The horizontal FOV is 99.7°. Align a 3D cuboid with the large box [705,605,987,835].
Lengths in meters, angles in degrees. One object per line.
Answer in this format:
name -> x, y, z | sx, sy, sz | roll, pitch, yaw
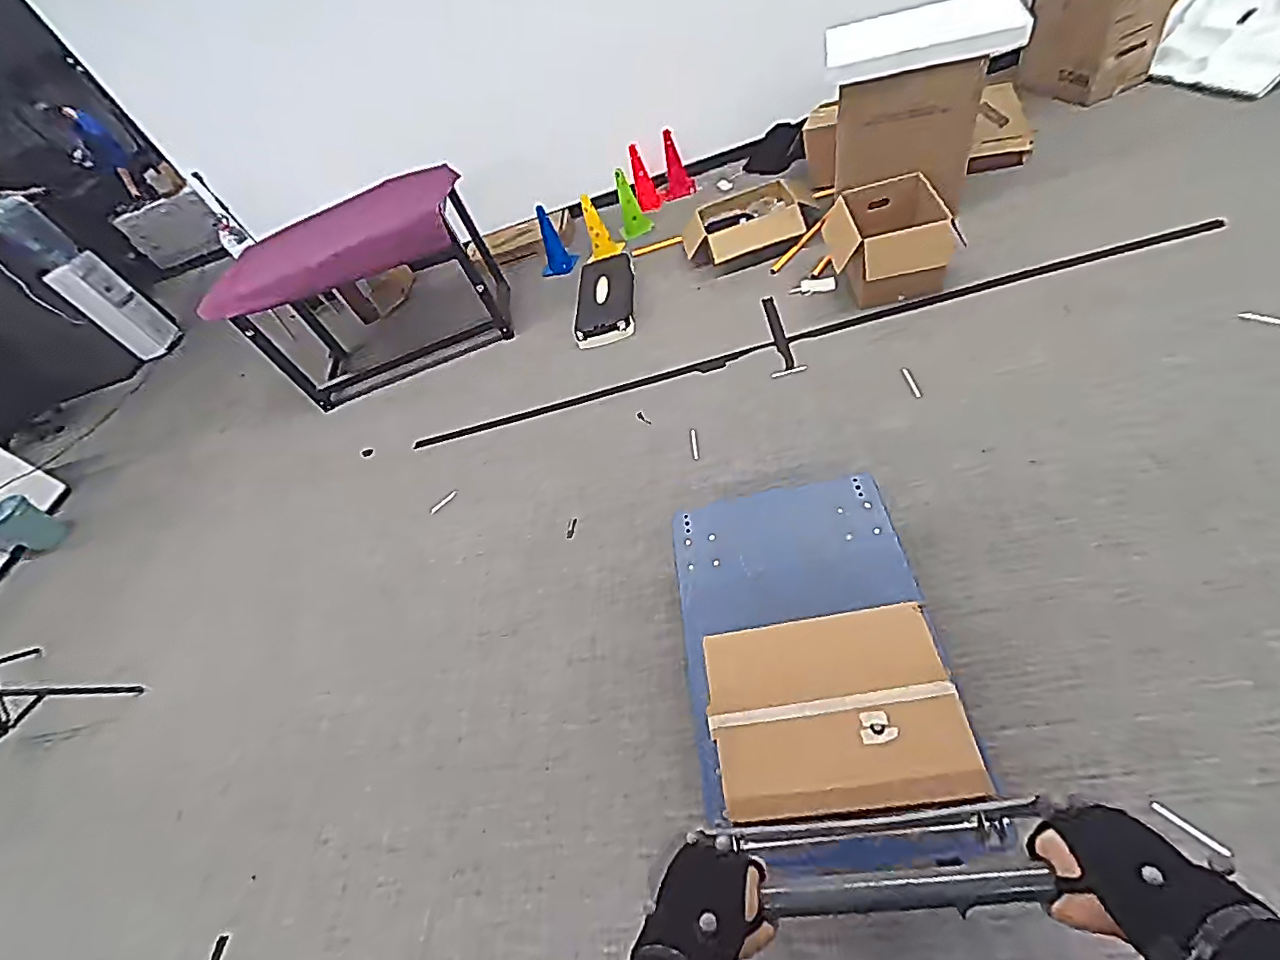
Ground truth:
large box -> 0.368, 0.483, 1.060 | 0.408, 0.320, 0.320 | -13, 53, 10
